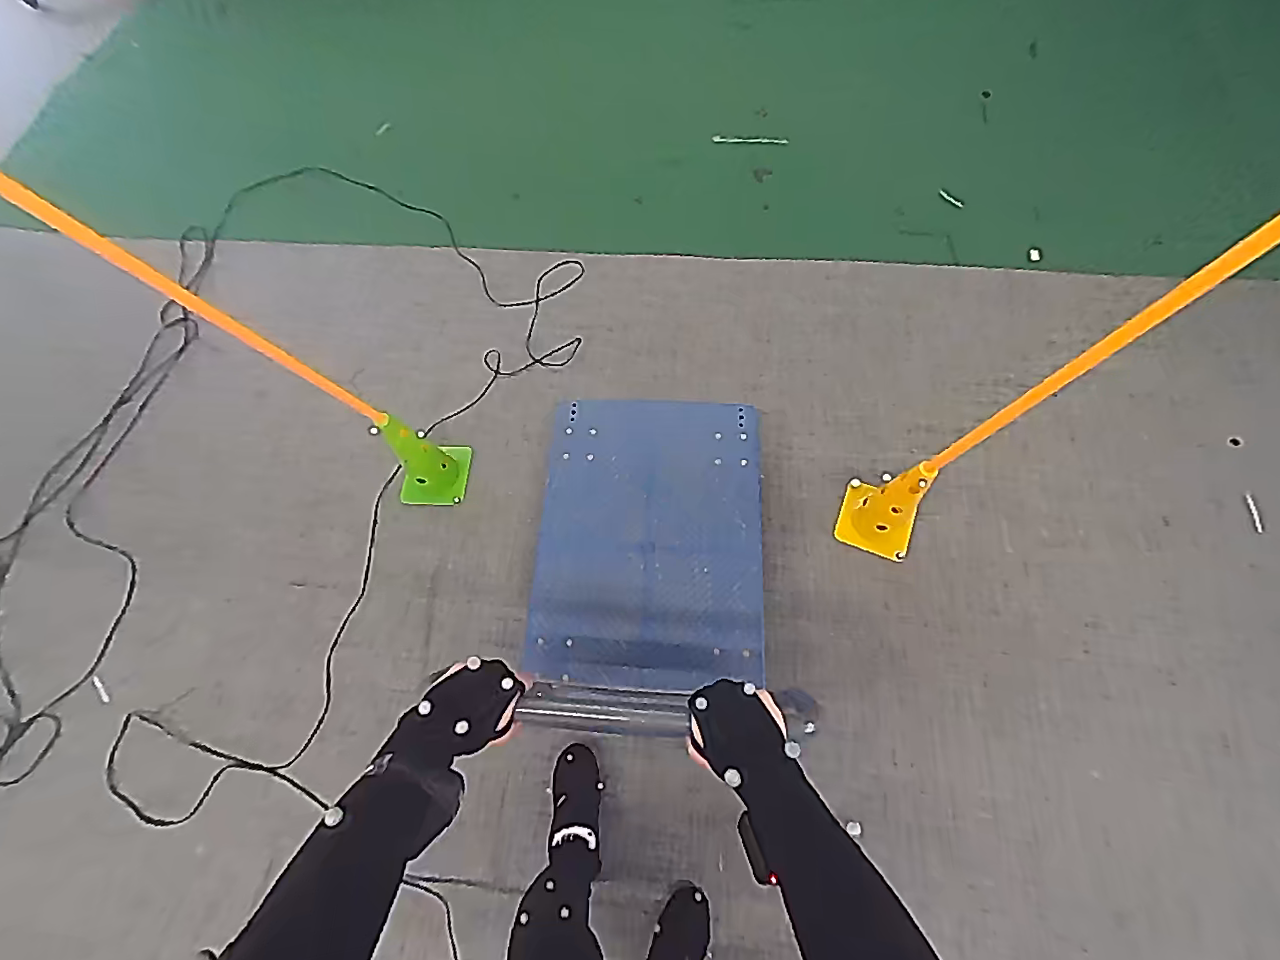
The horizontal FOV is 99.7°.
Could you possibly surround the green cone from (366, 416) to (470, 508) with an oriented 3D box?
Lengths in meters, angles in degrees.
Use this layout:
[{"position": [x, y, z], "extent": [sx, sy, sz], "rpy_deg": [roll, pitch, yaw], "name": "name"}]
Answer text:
[{"position": [-0.653, -0.077, 1.528], "extent": [0.202, 0.368, 0.200], "rpy_deg": [0, 66, 5], "name": "green cone"}]
